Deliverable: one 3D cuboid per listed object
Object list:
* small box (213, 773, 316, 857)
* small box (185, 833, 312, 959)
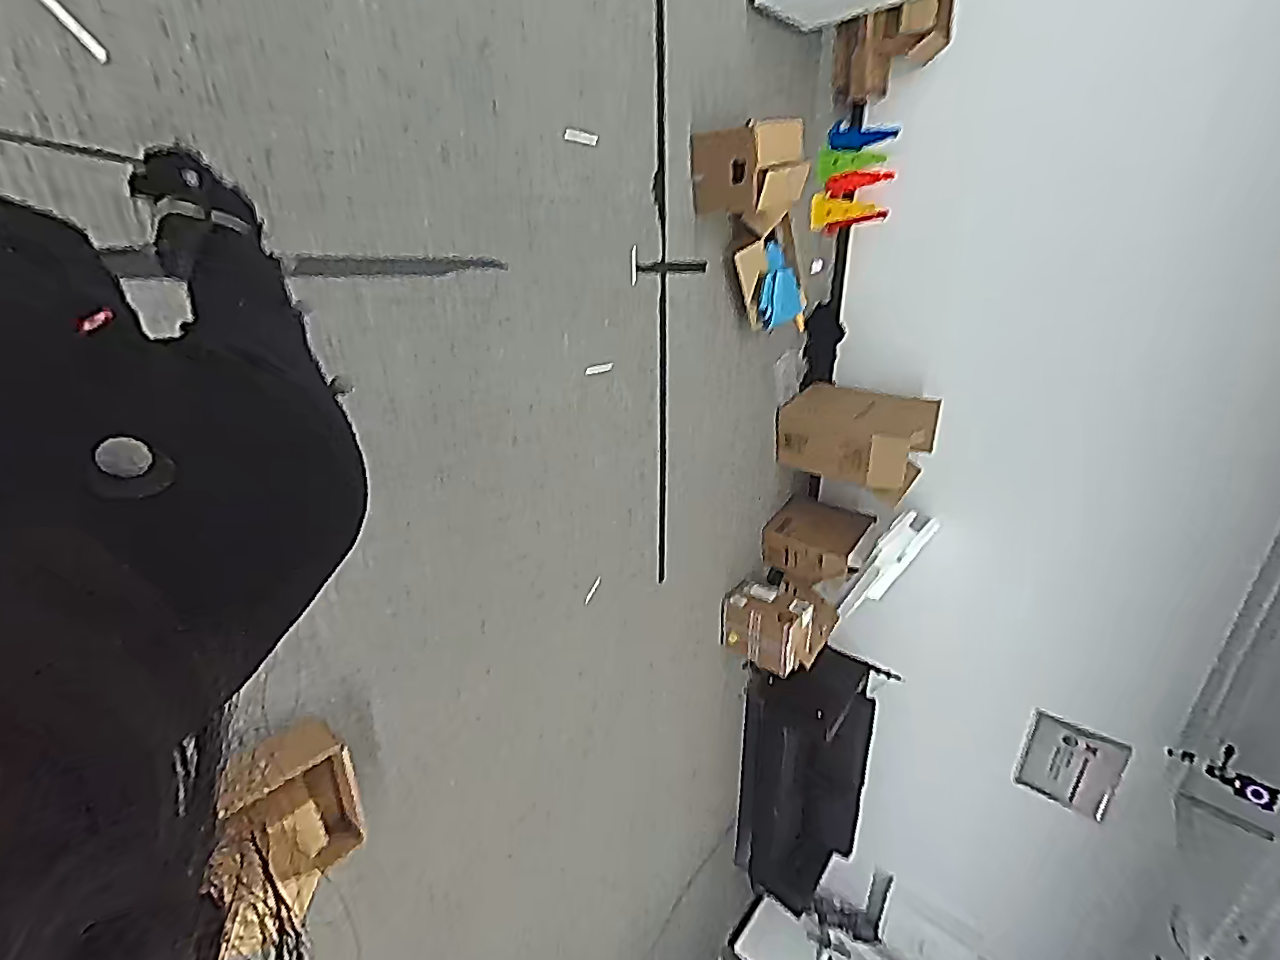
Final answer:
[{"bbox_3d":[-1.005,0.936,1.448,0.168,0.176,0.179,-25,123,-44],"label":"small box"},{"bbox_3d":[-0.934,0.987,1.286,0.179,0.176,0.168,27,84,-55],"label":"small box"}]
